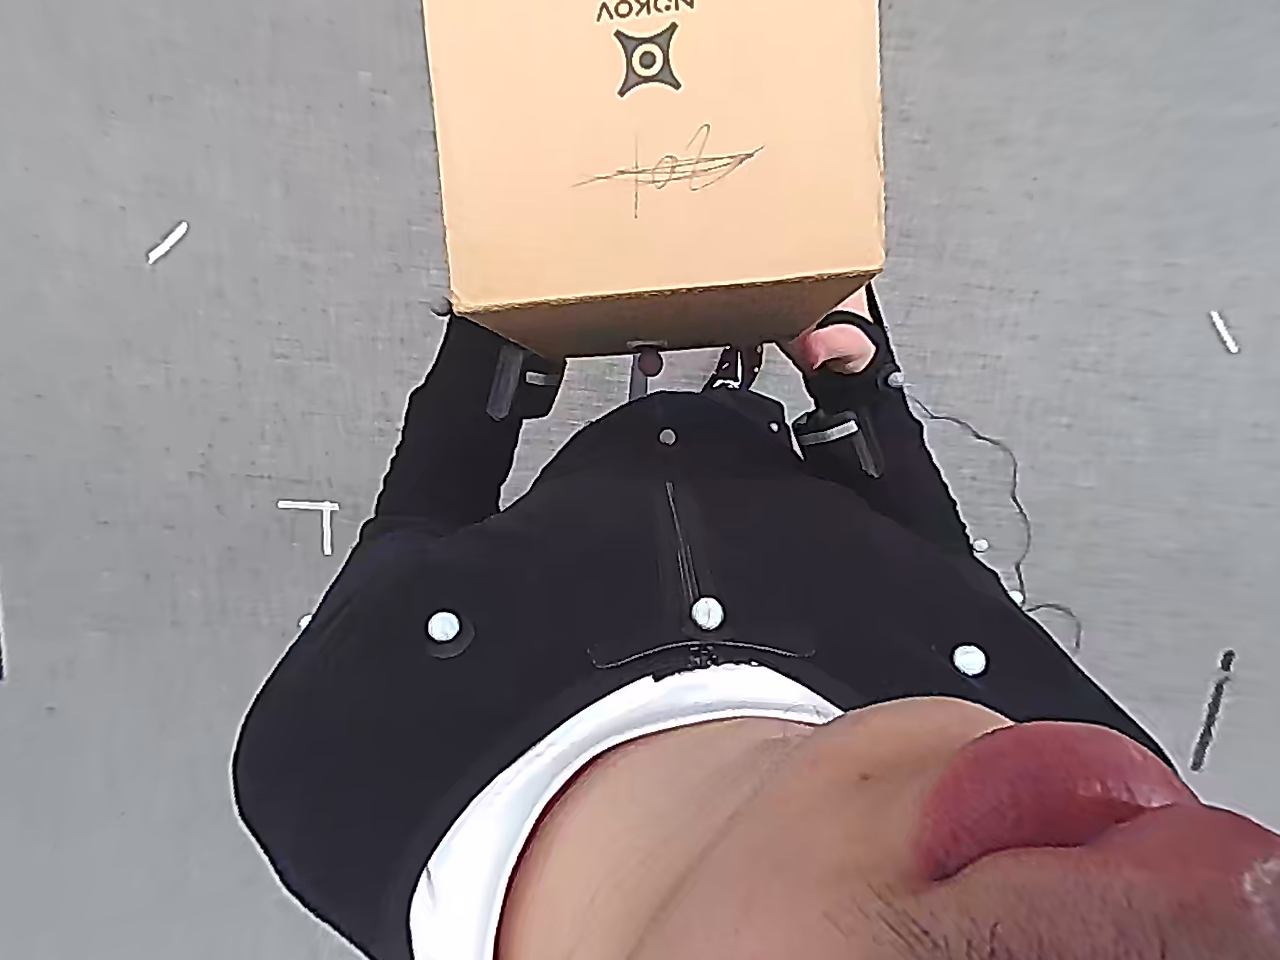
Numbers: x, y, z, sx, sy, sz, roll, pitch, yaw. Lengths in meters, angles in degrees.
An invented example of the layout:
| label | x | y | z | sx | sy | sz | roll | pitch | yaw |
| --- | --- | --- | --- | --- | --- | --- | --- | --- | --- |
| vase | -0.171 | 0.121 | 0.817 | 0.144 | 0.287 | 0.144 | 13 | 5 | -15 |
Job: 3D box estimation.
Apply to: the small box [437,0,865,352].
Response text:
| label | x | y | z | sx | sy | sz | roll | pitch | yaw |
| --- | --- | --- | --- | --- | --- | --- | --- | --- | --- |
| small box | 0.007 | -0.173 | 0.289 | 0.168 | 0.176 | 0.179 | -4 | 96 | 5 |
